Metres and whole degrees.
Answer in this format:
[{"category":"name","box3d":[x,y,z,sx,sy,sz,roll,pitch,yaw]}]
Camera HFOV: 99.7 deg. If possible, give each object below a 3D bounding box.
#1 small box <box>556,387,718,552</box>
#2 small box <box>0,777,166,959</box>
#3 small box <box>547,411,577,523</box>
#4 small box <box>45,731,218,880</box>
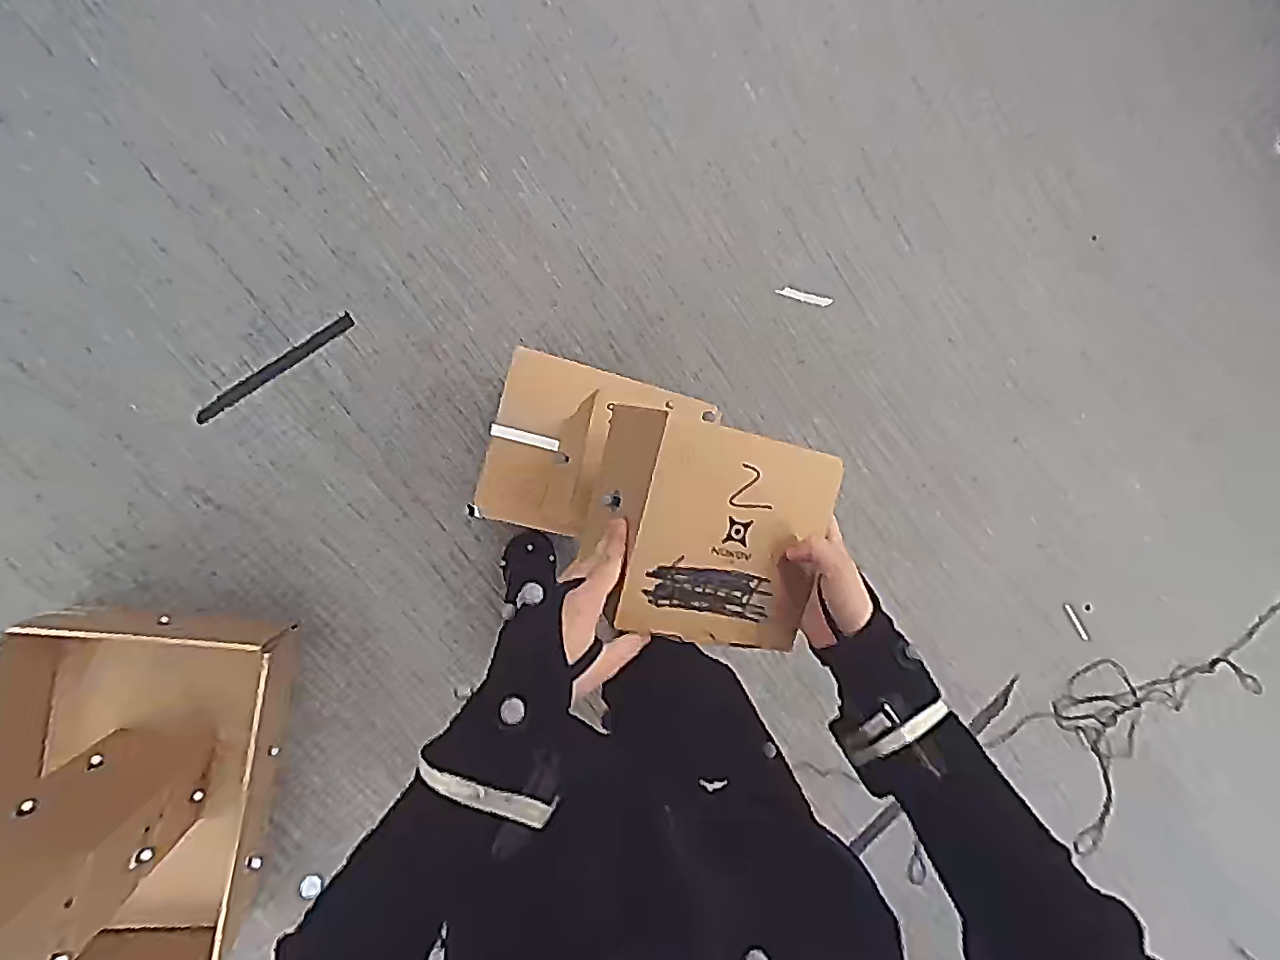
[{"category":"small box","box3d":[-0.015,-0.013,0.750,0.168,0.176,0.179,14,88,-15]},{"category":"small box","box3d":[-0.872,0.571,0.808,0.179,0.176,0.168,11,89,-15]},{"category":"small box","box3d":[-0.056,-0.006,0.909,0.168,0.176,0.179,14,87,-15]},{"category":"small box","box3d":[-0.910,0.570,0.966,0.179,0.176,0.168,13,88,-14]}]
